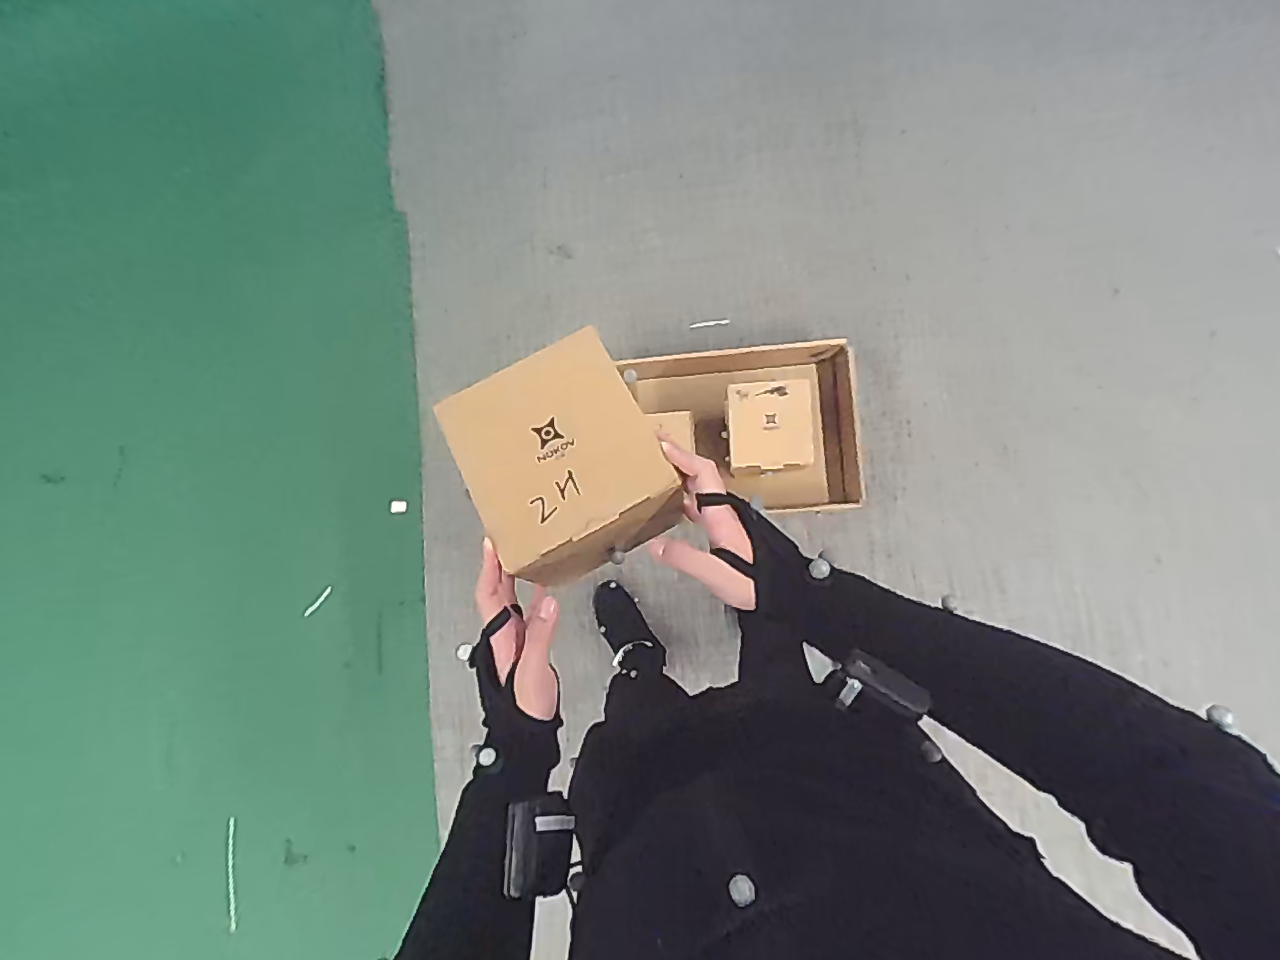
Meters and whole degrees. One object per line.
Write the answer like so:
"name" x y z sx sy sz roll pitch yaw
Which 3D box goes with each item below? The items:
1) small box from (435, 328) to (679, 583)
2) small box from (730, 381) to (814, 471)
"small box" -0.072 -0.011 0.550 0.168 0.176 0.179 -29 74 -2
"small box" 0.281 -0.108 1.172 0.168 0.176 0.179 -2 87 9
